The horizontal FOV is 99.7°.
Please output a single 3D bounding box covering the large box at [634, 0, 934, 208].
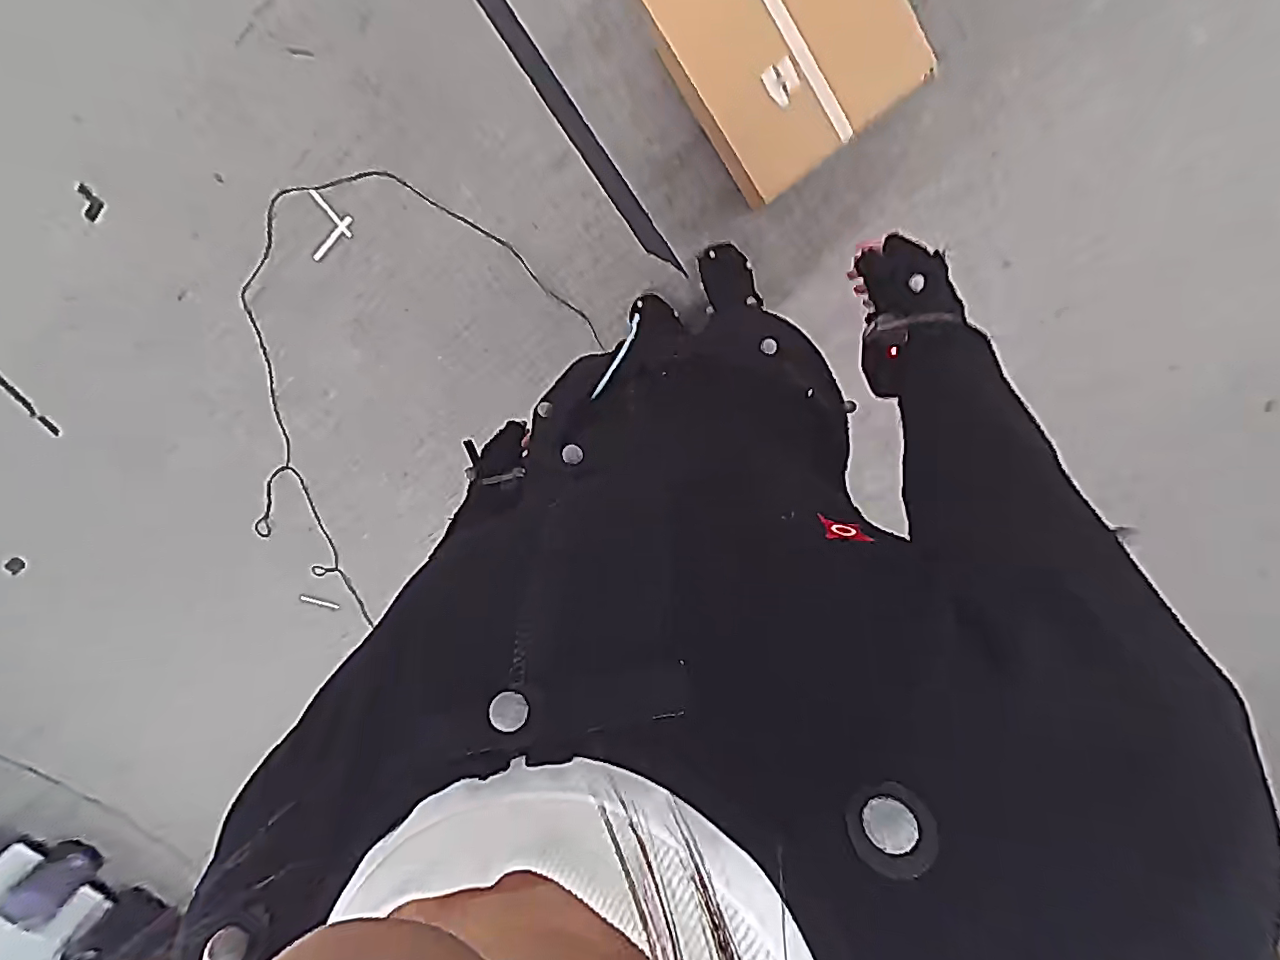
[{"bbox_3d":[0.238,-0.773,0.980,0.320,0.320,0.408,-34,107,21],"label":"large box"}]
